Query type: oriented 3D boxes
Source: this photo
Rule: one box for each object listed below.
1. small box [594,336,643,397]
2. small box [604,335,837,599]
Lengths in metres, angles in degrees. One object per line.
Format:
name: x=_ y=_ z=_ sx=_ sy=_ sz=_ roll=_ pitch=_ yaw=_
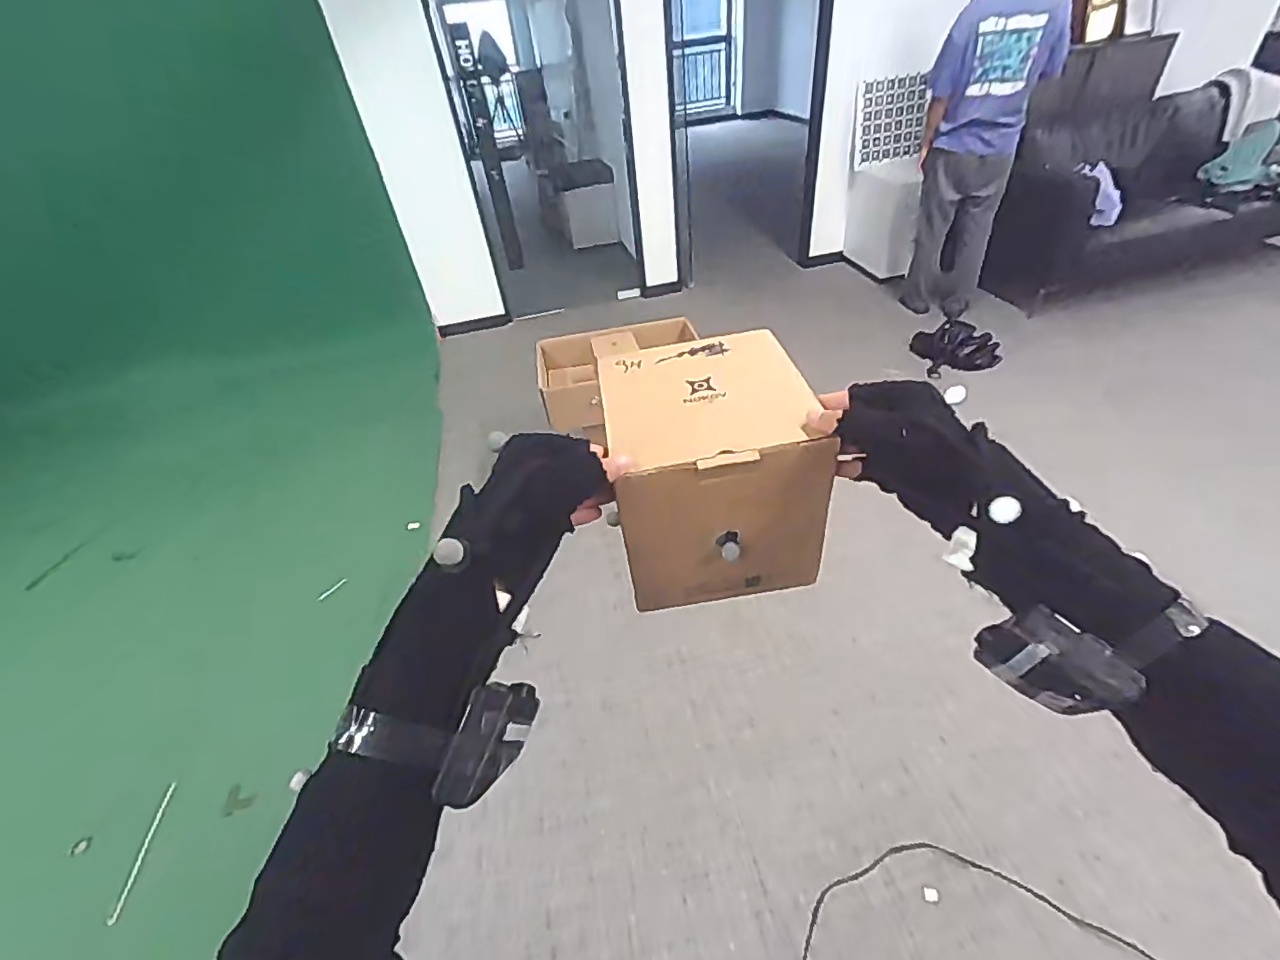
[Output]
small box: x=-0.076 y=-0.429 z=2.069 sx=0.168 sy=0.176 sz=0.179 roll=-10 pitch=38 yaw=-6
small box: x=0.065 y=-0.007 z=0.500 sx=0.168 sy=0.176 sz=0.179 roll=-9 pitch=41 yaw=0
